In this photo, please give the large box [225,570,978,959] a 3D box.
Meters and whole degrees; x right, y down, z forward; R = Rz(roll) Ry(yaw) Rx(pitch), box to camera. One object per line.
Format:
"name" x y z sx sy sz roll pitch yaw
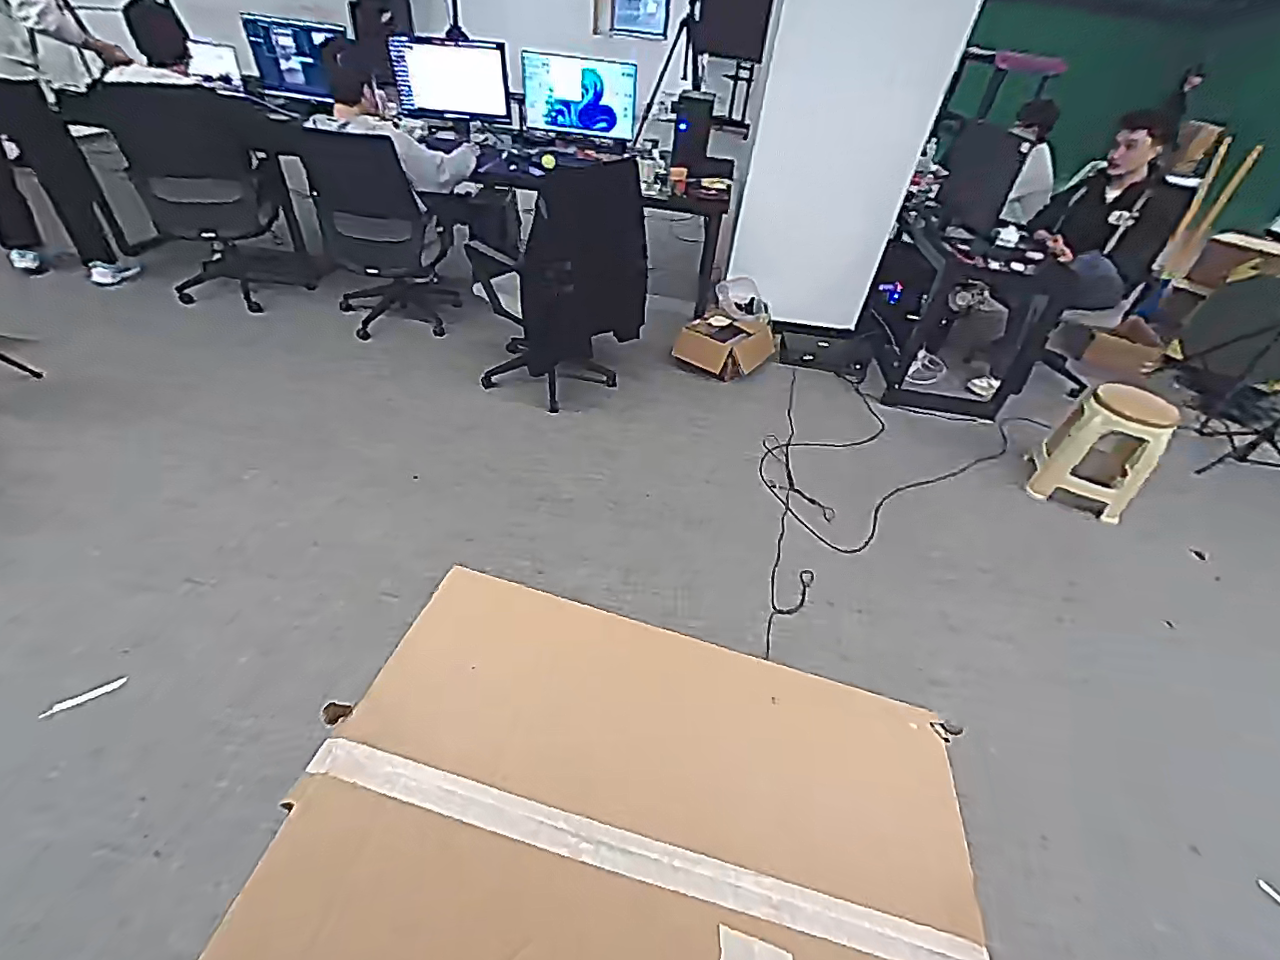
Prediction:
"large box" -0.019 0.331 0.428 0.408 0.320 0.320 17 42 2
